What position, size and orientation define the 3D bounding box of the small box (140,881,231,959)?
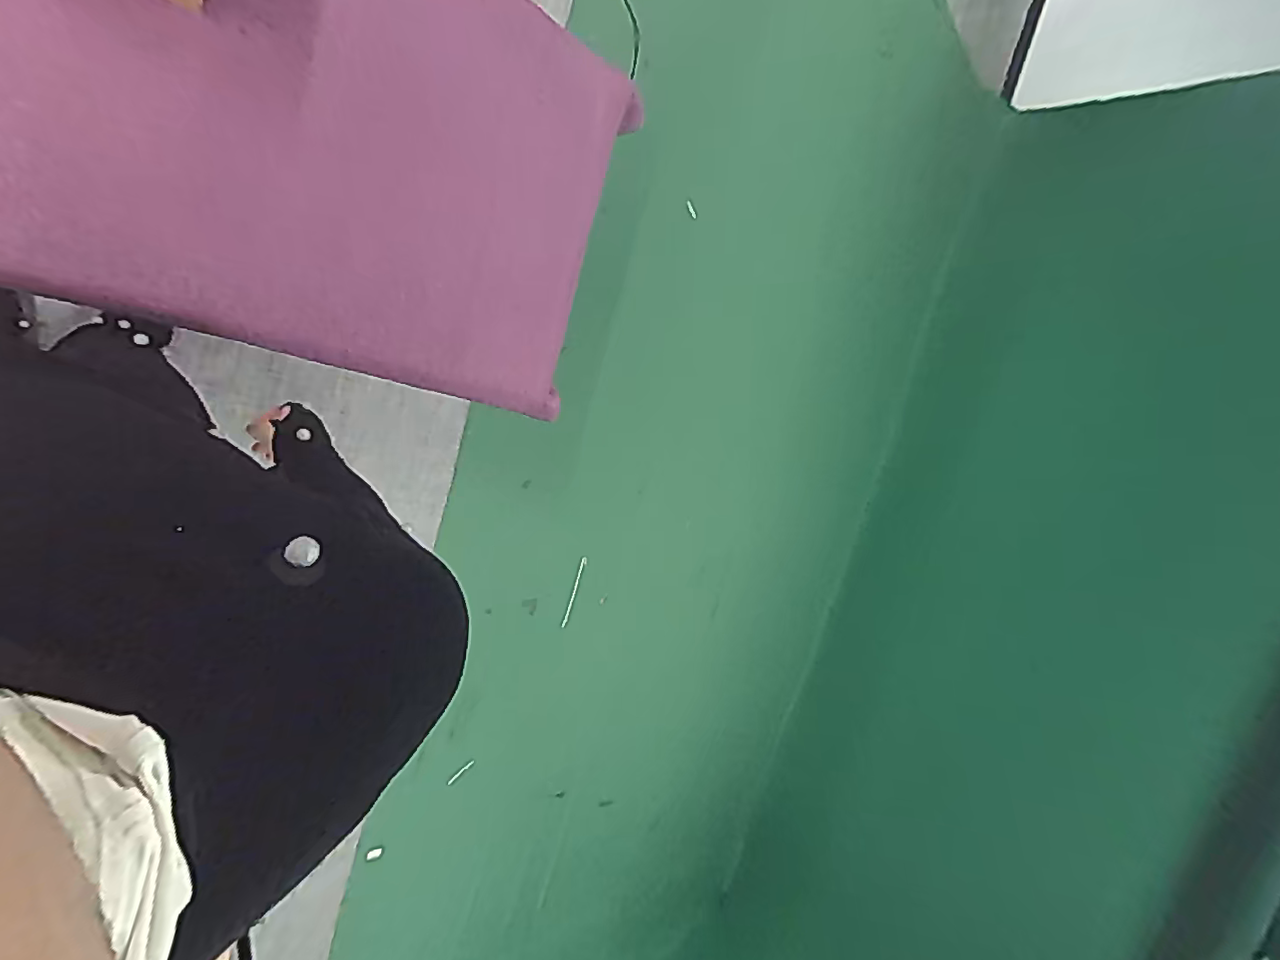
[{"bbox_3d":[-1.280,1.277,1.518,0.168,0.176,0.179,12,98,-45],"label":"small box"}]
